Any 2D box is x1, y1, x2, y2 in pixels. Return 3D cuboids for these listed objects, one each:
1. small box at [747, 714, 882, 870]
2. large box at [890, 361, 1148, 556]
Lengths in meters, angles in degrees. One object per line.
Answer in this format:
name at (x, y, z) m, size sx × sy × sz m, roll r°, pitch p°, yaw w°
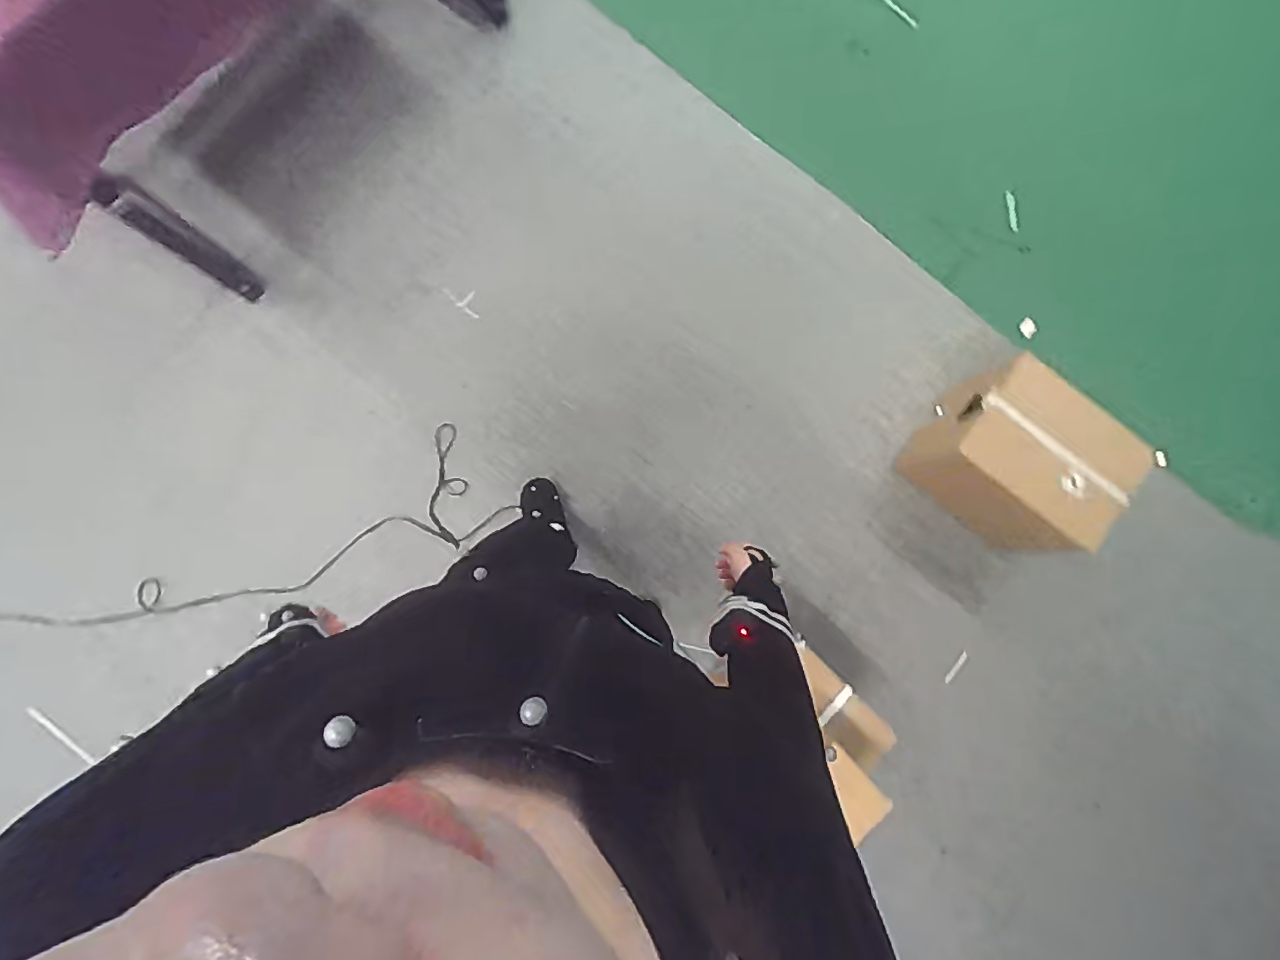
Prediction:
small box at (0.336, 0.615, 1.091) m, size 0.179 × 0.176 × 0.168 m, roll -41°, pitch 91°, yaw -7°
large box at (0.978, -0.041, 1.443) m, size 0.408 × 0.320 × 0.320 m, roll 40°, pitch 83°, yaw 0°
